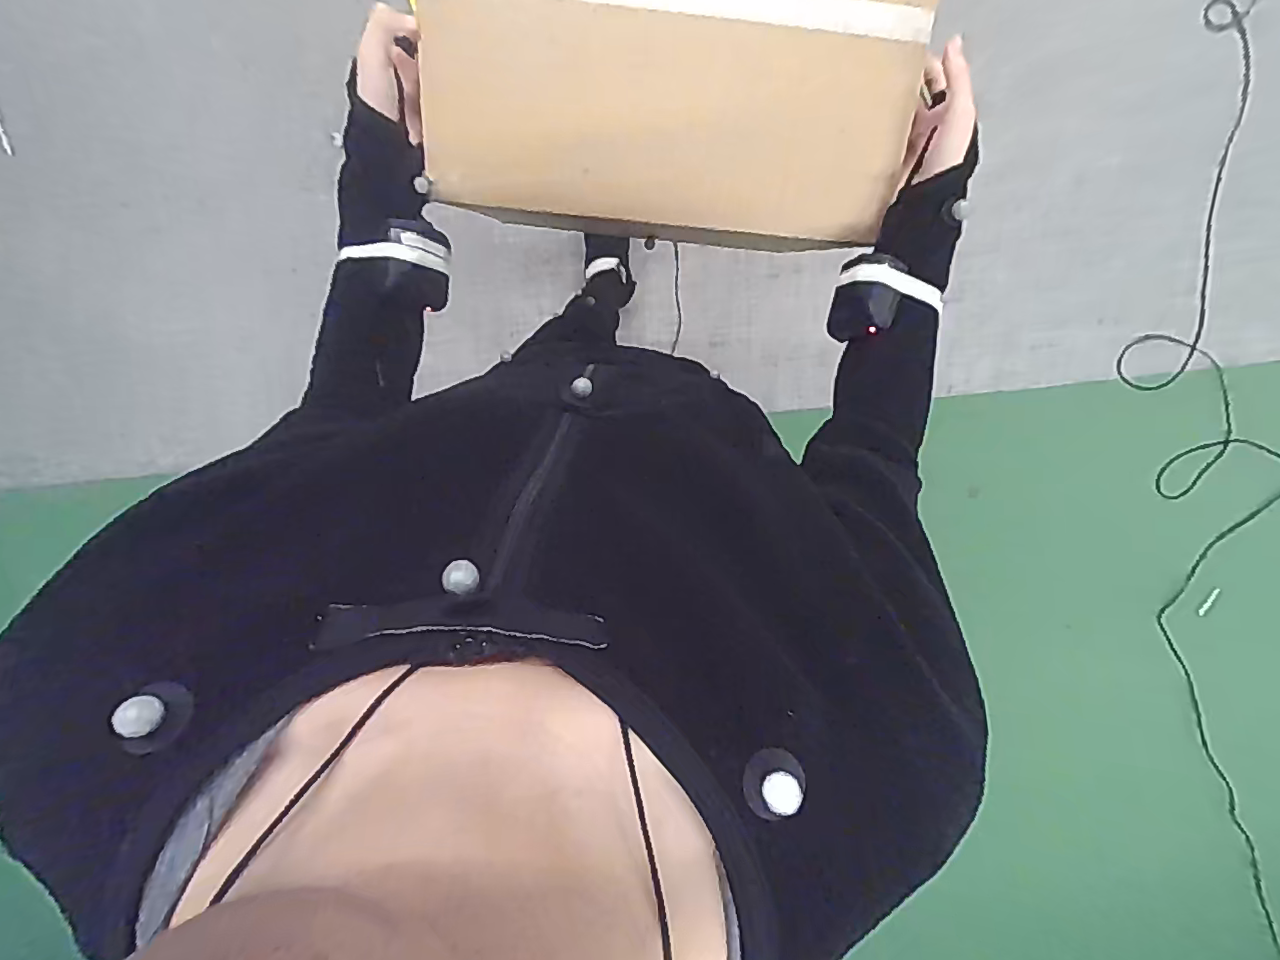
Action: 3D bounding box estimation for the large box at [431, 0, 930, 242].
[{"bbox_3d":[0.032,-0.433,0.570,0.408,0.320,0.320,5,111,-3],"label":"large box"}]
